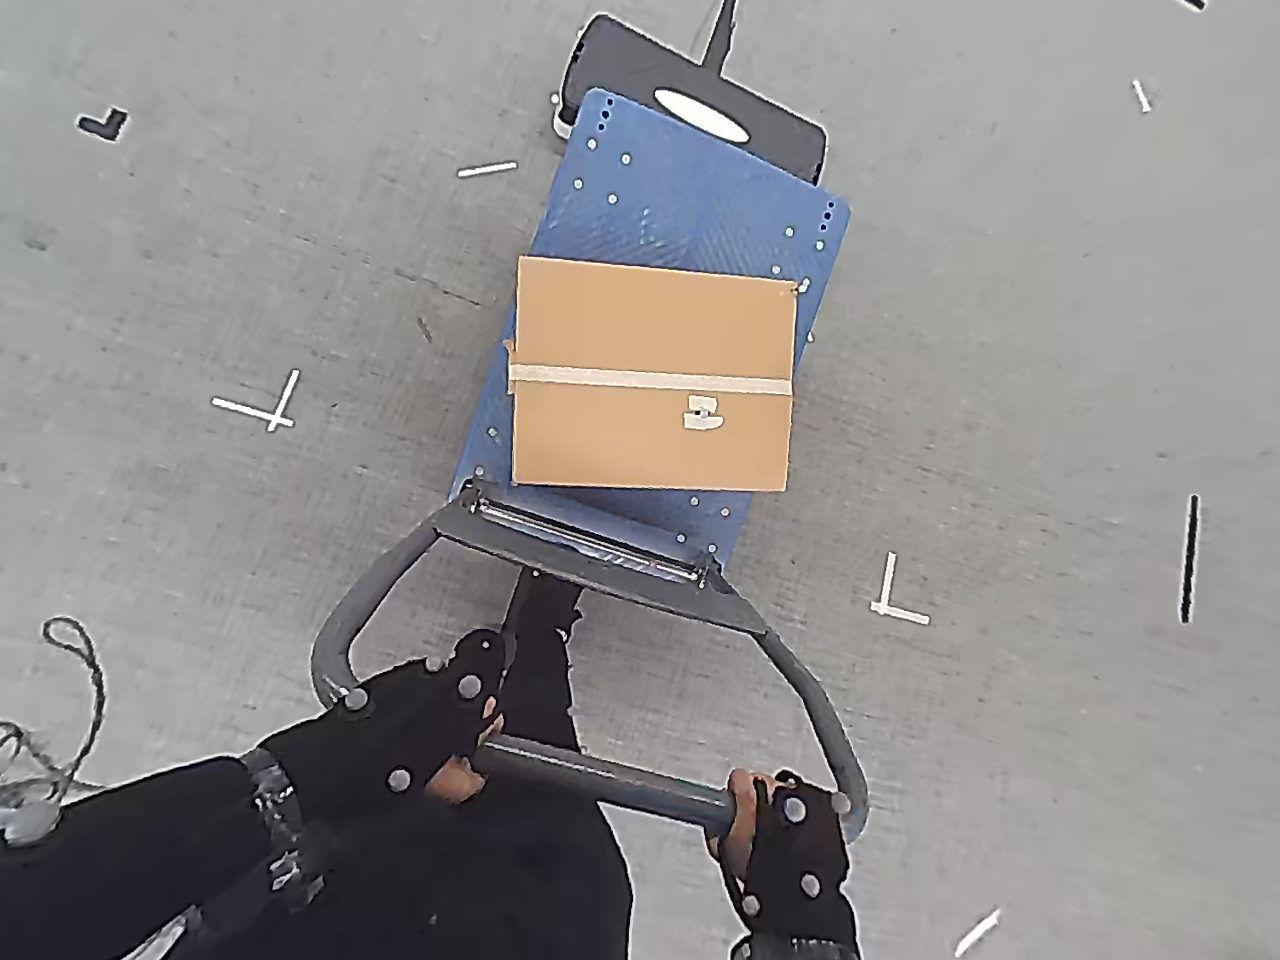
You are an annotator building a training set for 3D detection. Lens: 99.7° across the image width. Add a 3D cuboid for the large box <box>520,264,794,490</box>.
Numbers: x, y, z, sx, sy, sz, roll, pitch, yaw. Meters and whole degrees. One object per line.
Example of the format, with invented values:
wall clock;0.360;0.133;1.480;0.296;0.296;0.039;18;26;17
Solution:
large box;0.005;-0.151;0.930;0.408;0.320;0.320;2;95;-9
